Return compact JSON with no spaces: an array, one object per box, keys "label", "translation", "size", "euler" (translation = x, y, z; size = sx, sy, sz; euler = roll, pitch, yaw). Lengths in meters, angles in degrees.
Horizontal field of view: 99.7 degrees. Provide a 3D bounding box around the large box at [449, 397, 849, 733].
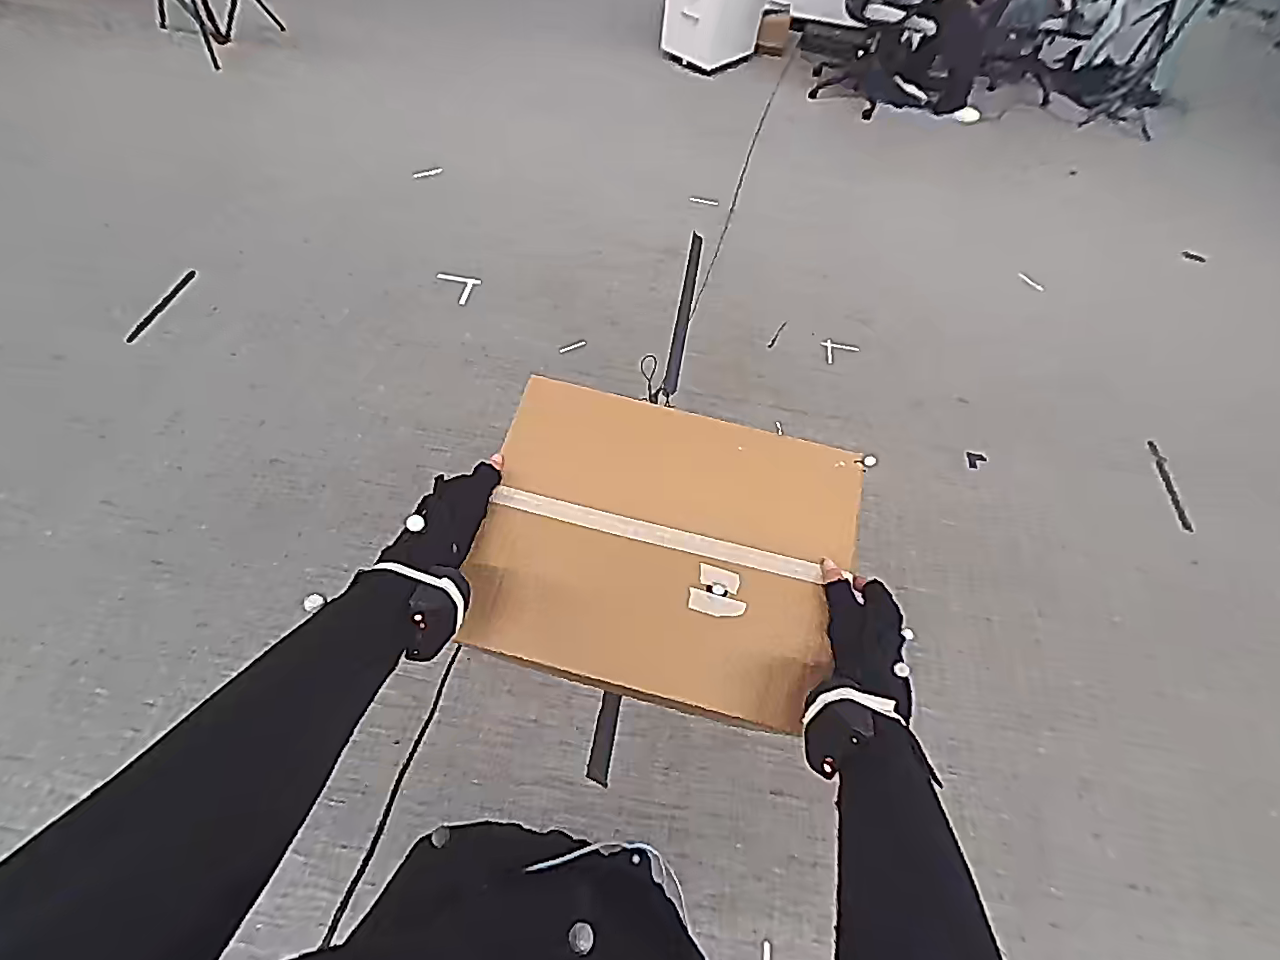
[{"label":"large box","translation":[0.018,0.131,0.739],"size":[0.408,0.320,0.320],"euler":[14,68,2]}]
